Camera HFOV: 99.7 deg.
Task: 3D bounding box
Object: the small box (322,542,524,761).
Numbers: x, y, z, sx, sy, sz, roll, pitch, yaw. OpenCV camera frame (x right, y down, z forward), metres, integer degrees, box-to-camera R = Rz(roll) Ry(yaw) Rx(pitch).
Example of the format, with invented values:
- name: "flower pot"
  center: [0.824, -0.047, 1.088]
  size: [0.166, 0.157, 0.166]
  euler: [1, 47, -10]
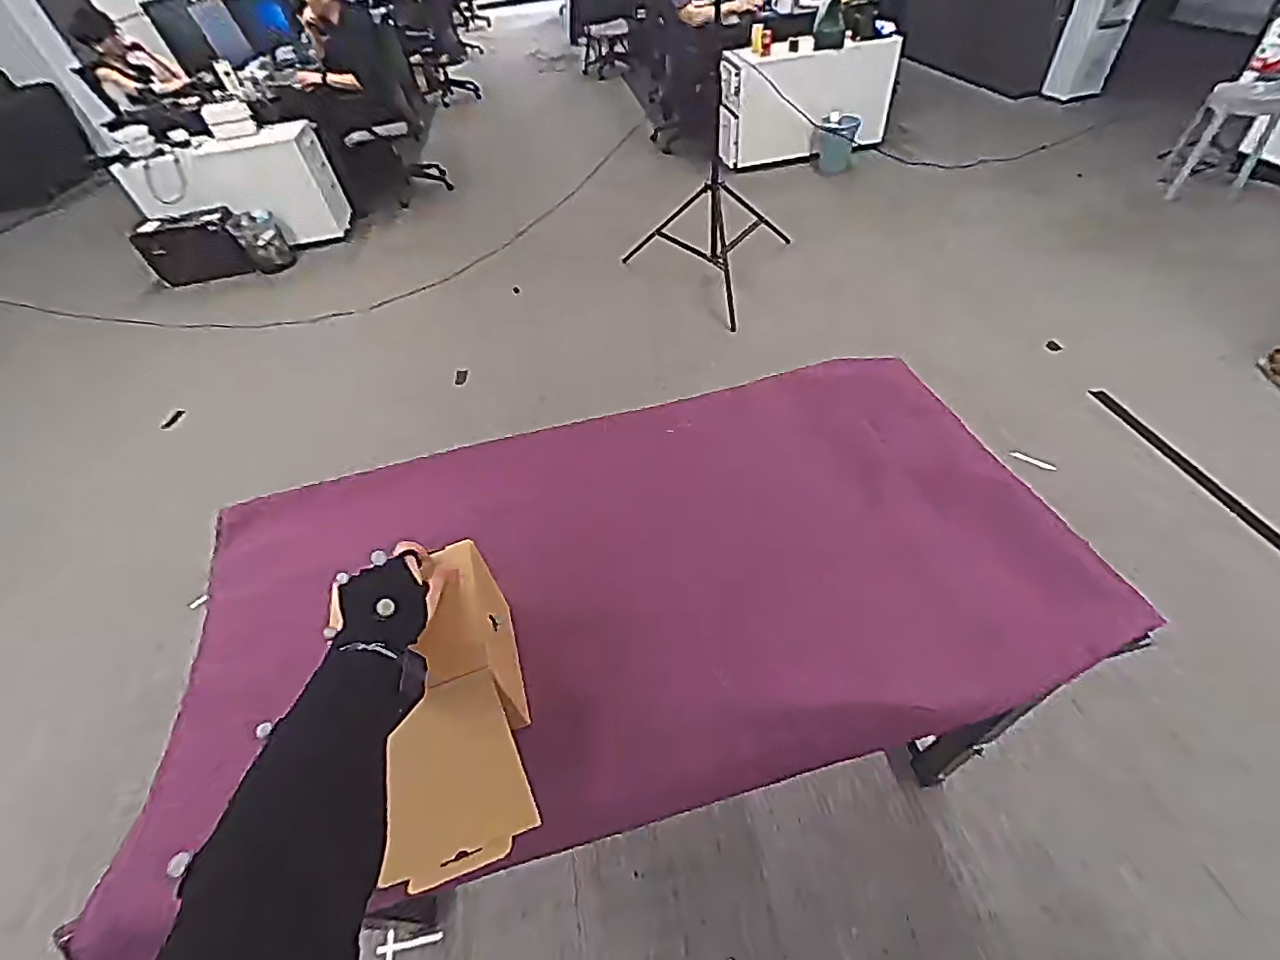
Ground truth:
- name: "small box"
  center: [-0.247, 0.210, 0.645]
  size: [0.168, 0.176, 0.179]
  euler: [-17, 47, -9]
